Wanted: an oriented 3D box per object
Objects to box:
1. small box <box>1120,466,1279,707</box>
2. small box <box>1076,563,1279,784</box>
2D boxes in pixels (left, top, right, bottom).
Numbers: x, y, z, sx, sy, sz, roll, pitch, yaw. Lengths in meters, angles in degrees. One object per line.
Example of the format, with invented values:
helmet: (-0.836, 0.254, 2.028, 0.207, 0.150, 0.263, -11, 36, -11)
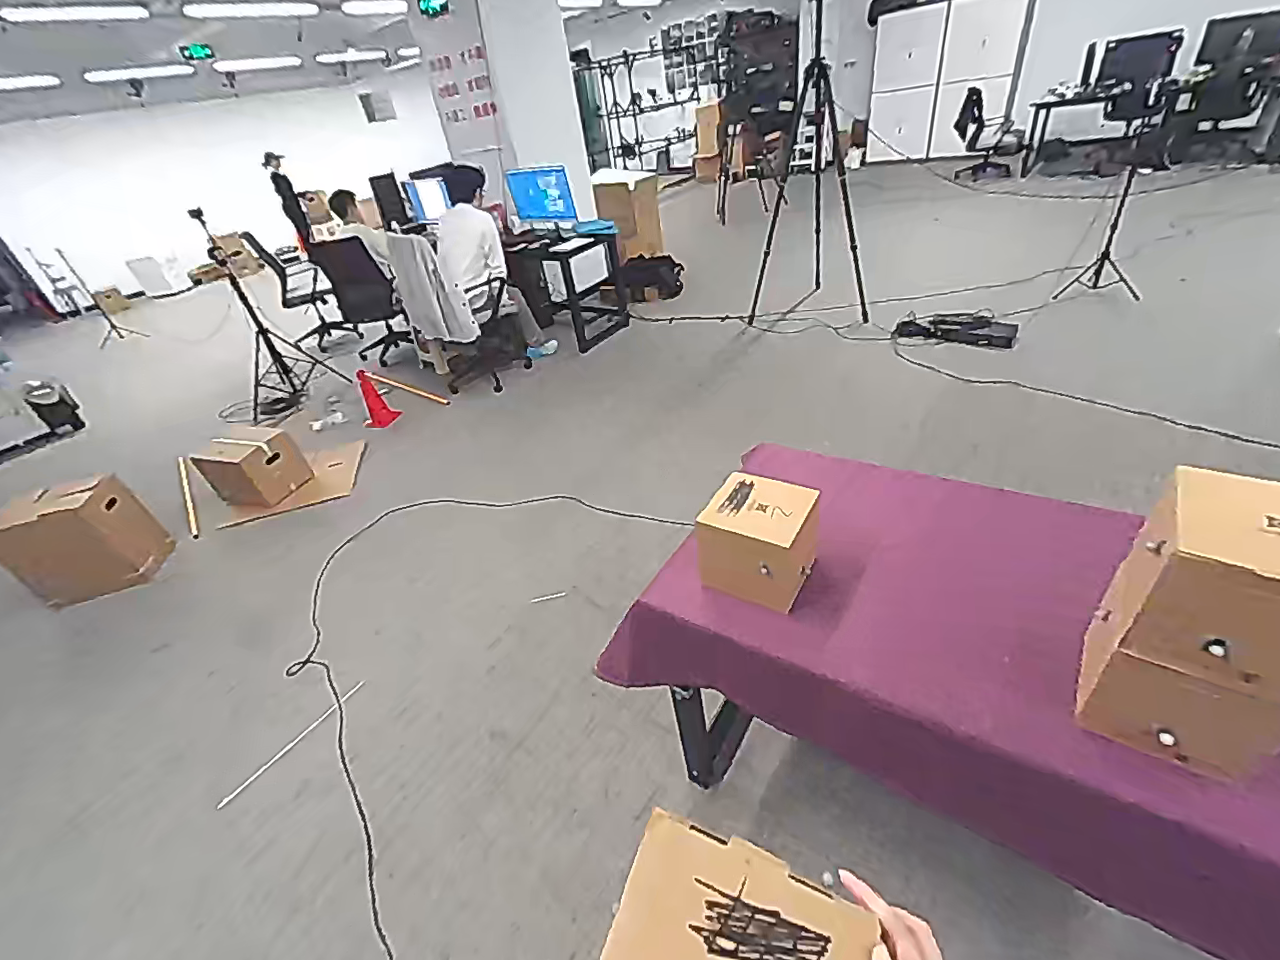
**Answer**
small box: (0.678, 0.115, 0.610, 0.168, 0.176, 0.179, 17, 45, 34)
small box: (0.700, 0.245, 0.705, 0.168, 0.176, 0.179, 17, 44, 34)
